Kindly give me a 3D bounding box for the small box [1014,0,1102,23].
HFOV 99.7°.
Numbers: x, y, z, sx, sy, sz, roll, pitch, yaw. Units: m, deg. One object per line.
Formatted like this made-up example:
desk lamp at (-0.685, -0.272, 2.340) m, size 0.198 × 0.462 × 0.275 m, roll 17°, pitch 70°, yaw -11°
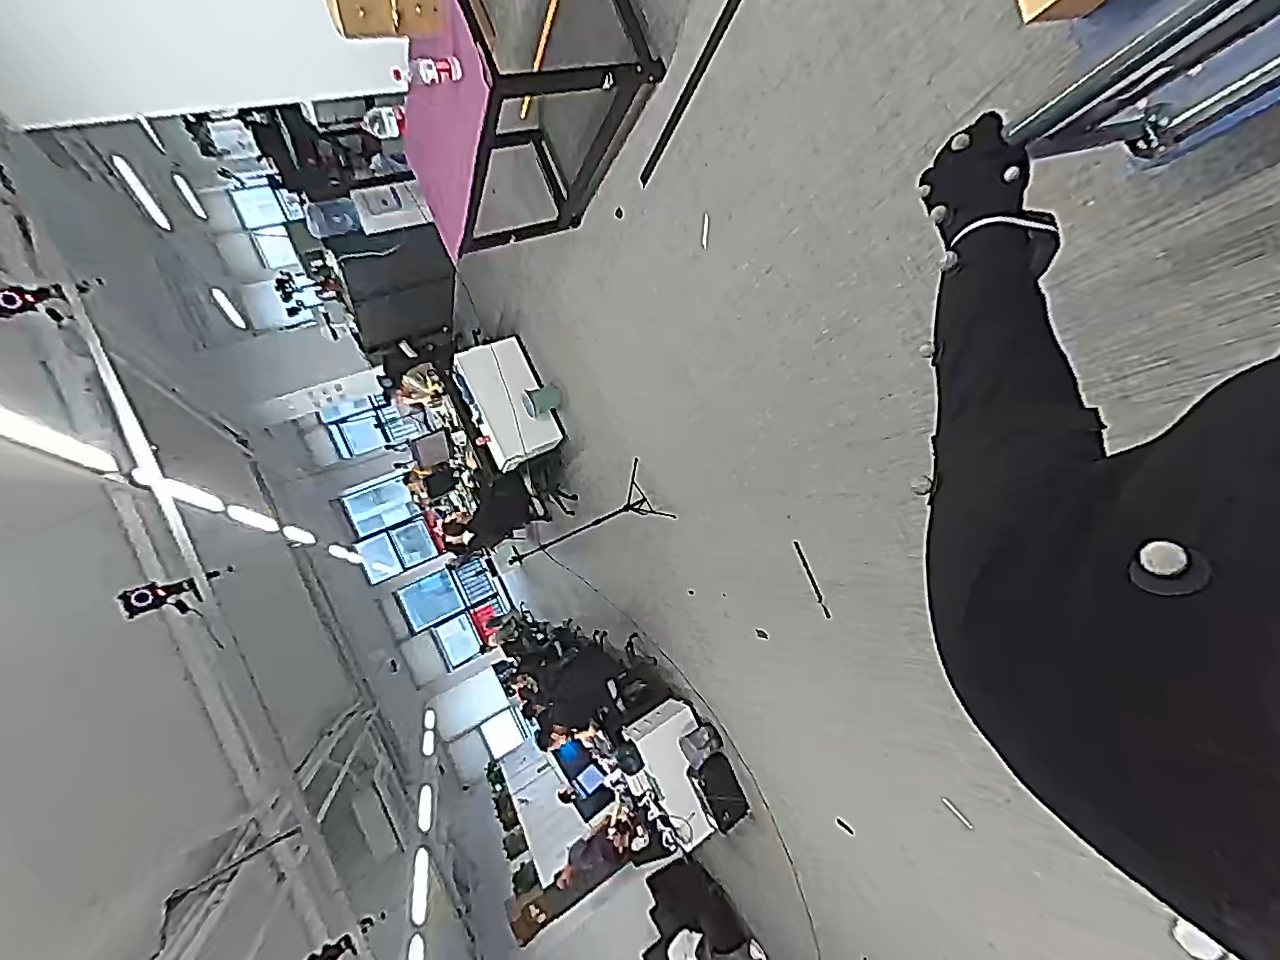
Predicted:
small box at (0.698, -0.853, 0.831) m, size 0.179 × 0.176 × 0.168 m, roll -8°, pitch 105°, yaw 64°
